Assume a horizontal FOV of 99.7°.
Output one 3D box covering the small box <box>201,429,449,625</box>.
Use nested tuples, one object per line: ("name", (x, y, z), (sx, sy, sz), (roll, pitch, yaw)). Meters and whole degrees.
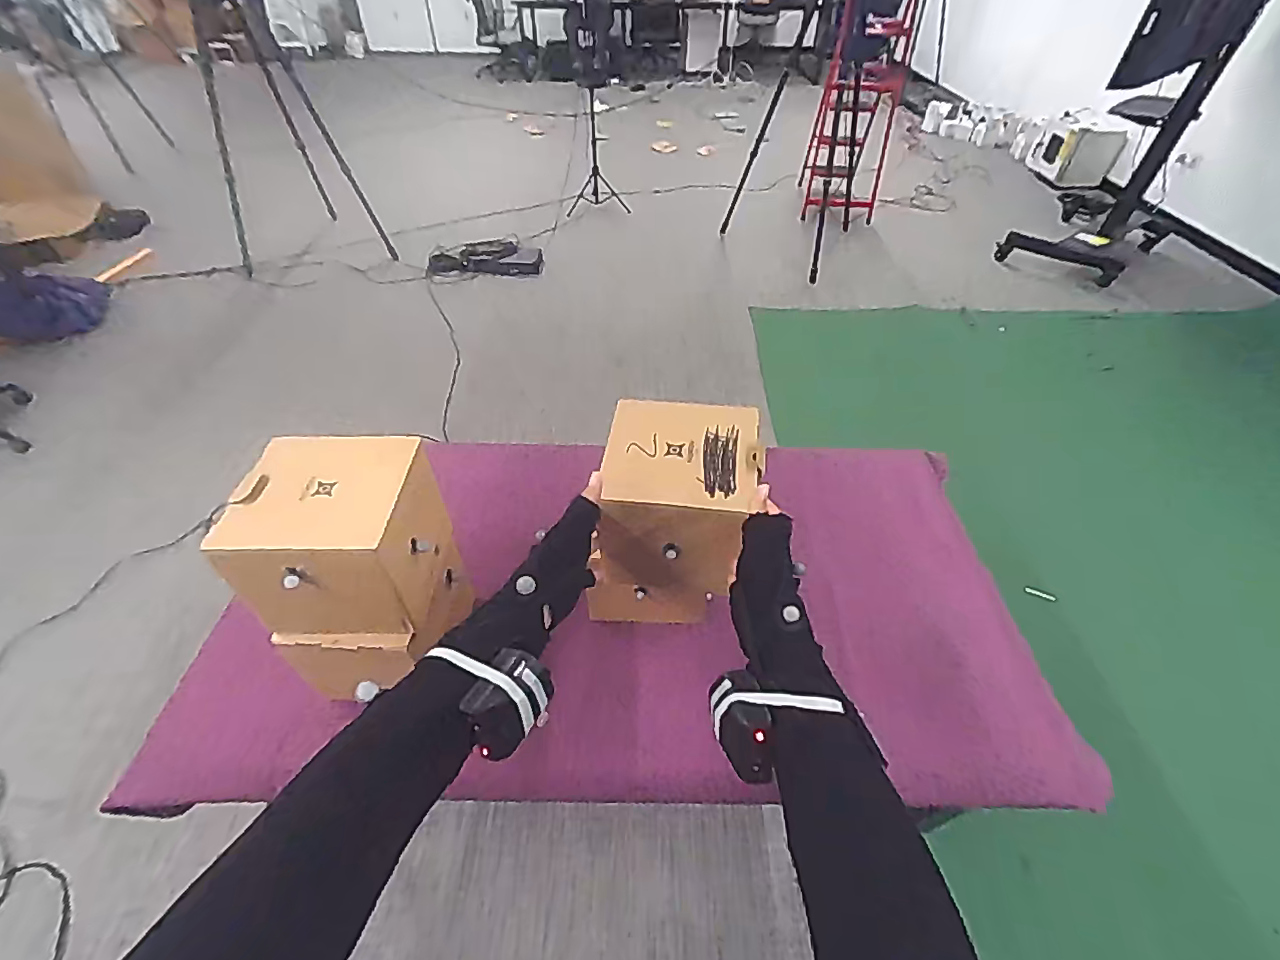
("small box", (-0.343, 0.059, 0.638), (0.179, 0.176, 0.168), (1, 47, -1))

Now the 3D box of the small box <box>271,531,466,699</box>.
("small box", (-0.353, 0.179, 0.749), (0.168, 0.176, 0.179), (4, 47, 1))

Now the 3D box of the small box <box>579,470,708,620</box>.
("small box", (0.005, 0.103, 0.835), (0.179, 0.176, 0.168), (2, 47, 1))
